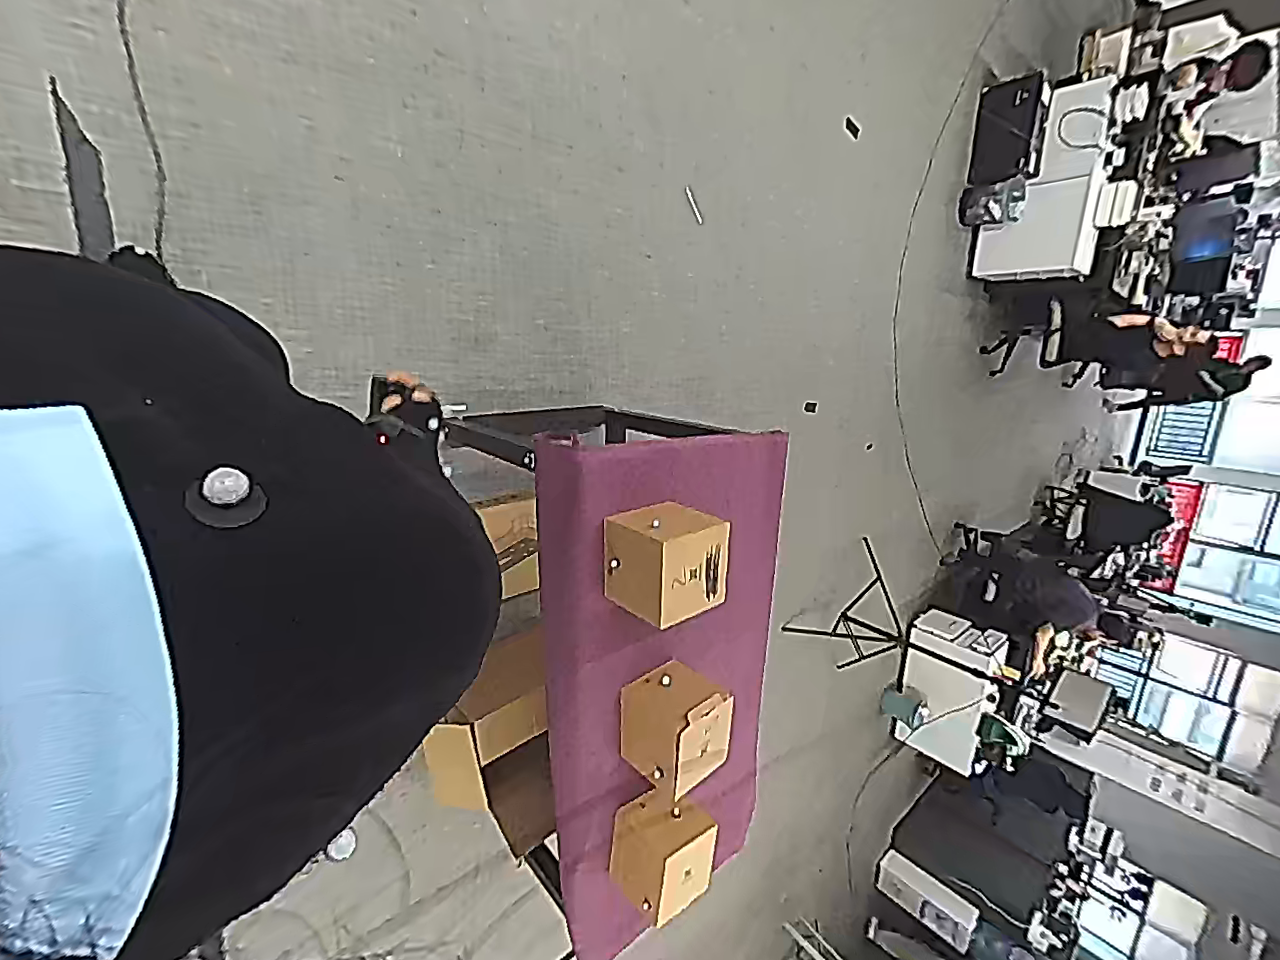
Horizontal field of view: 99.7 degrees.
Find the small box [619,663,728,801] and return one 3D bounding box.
[{"bbox_3d":[0.067,0.530,1.164,0.168,0.176,0.179,-13,110,-42],"label":"small box"}]

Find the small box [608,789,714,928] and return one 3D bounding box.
[{"bbox_3d":[0.043,0.841,1.231,0.168,0.176,0.179,-3,104,-42],"label":"small box"}]
